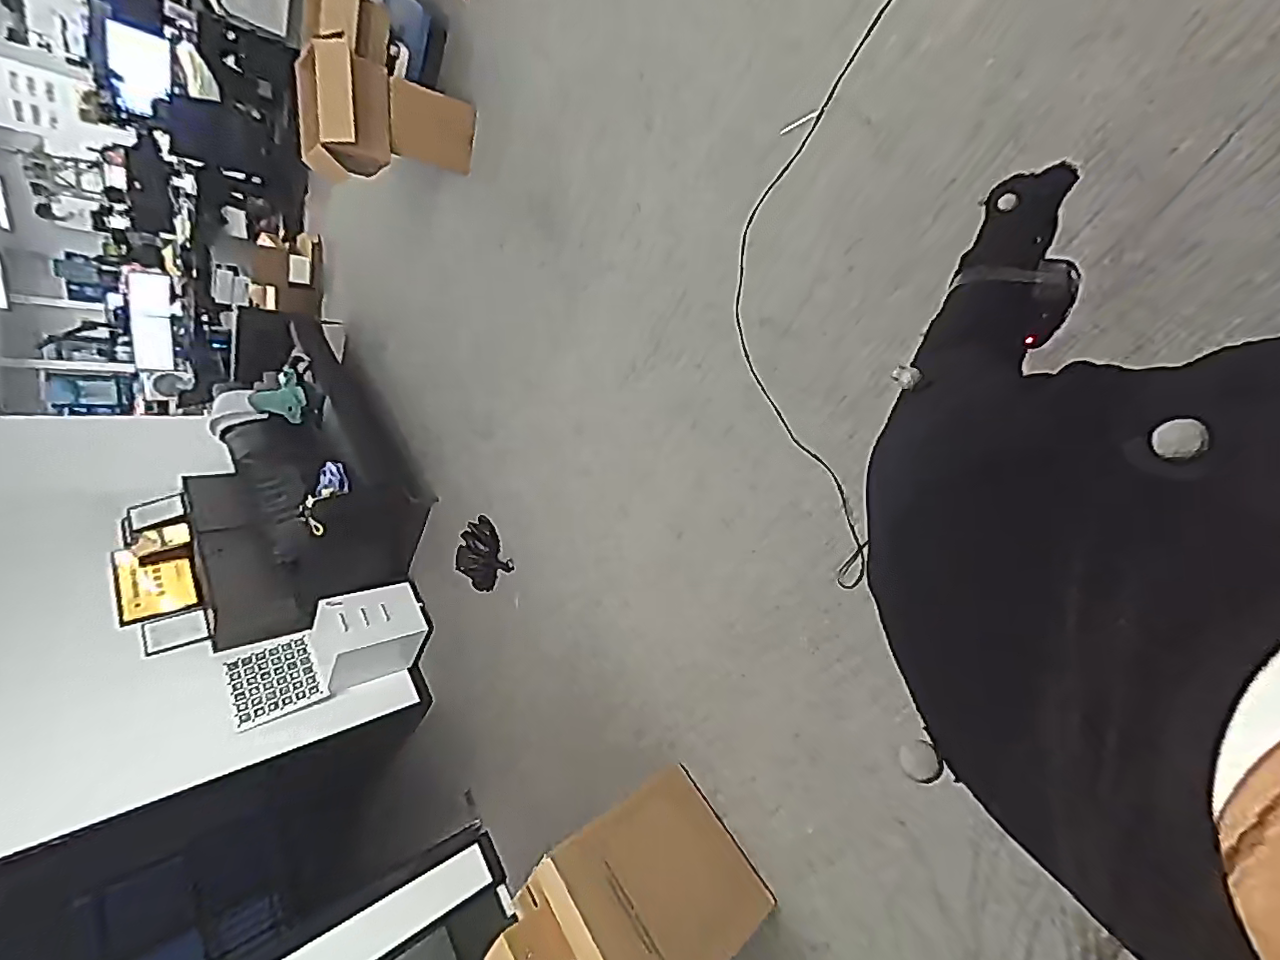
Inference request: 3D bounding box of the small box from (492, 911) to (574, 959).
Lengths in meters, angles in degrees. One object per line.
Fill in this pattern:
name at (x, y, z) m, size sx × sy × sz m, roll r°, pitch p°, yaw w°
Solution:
small box at (-0.312, 1.427, 1.581) m, size 0.179 × 0.176 × 0.168 m, roll 44°, pitch 117°, yaw 34°
